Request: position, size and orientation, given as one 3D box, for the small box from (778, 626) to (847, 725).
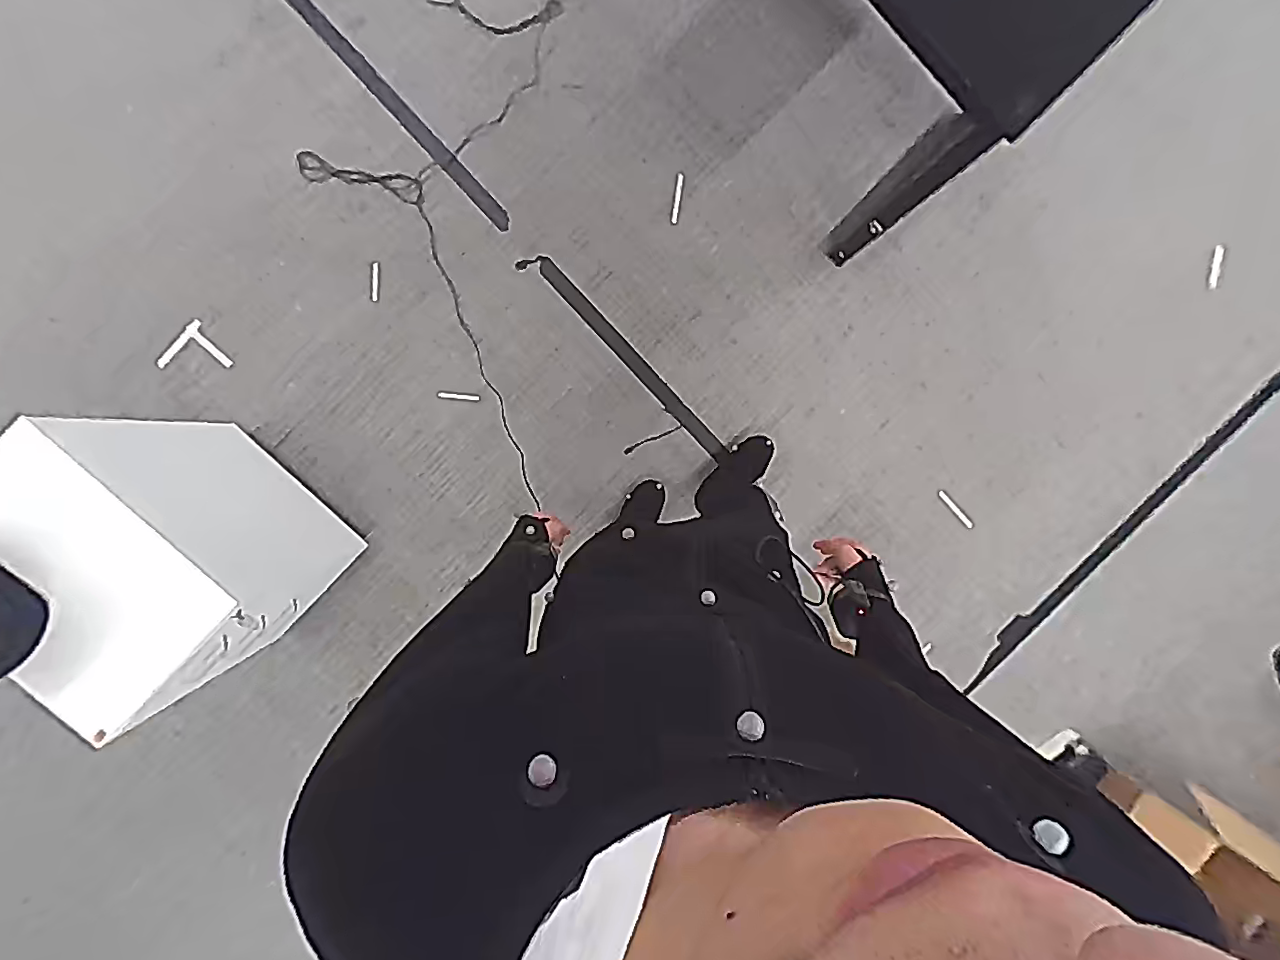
[{"bbox_3d":[0.498,0.523,1.440,0.179,0.176,0.168,-44,95,3],"label":"small box"}]
